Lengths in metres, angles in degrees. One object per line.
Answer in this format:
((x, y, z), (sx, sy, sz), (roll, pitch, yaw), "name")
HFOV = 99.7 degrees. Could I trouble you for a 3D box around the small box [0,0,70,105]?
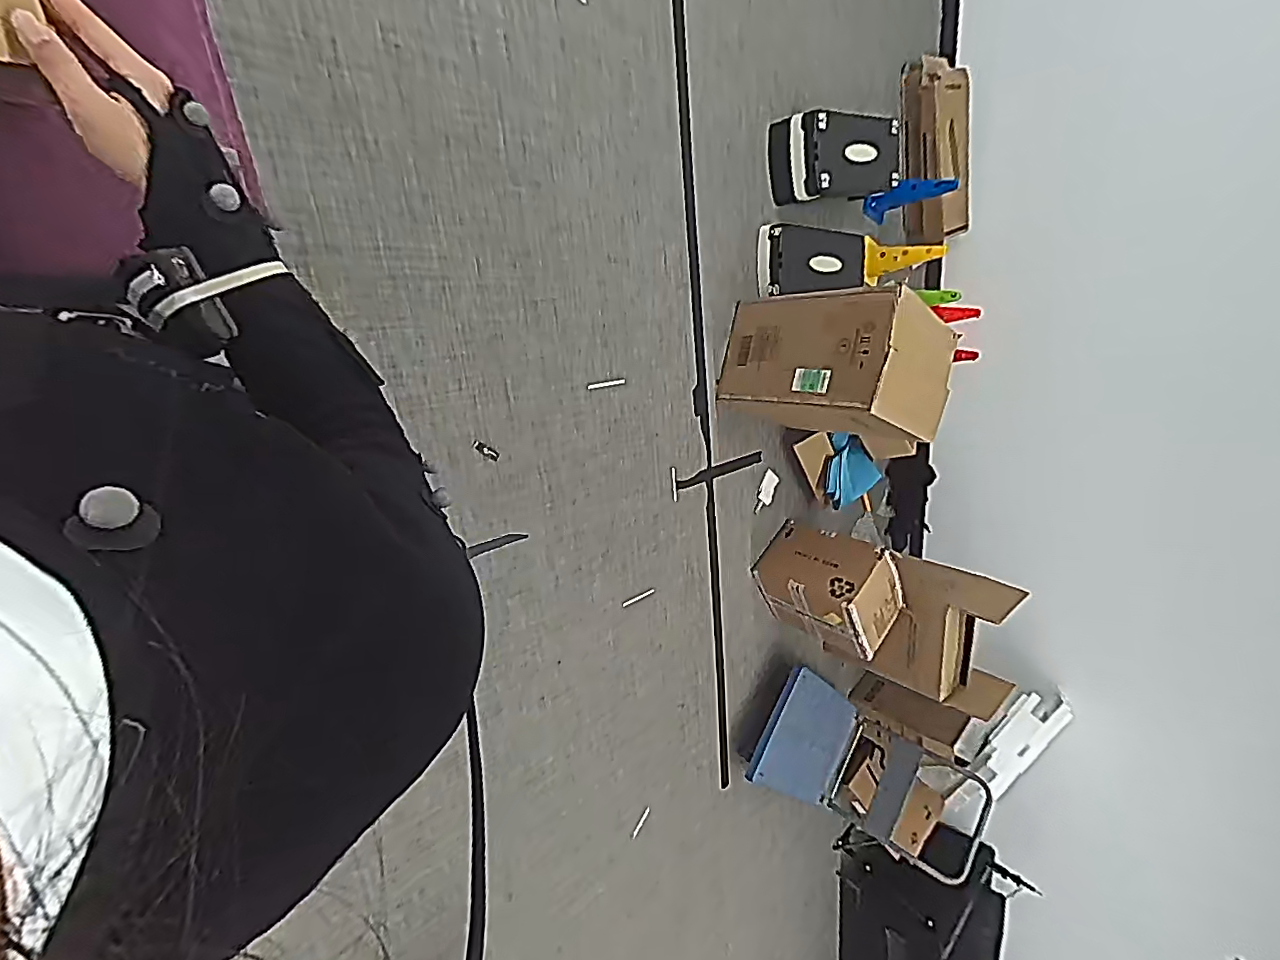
((-0.459, -0.321, 0.294), (0.179, 0.176, 0.168), (-18, 121, -38), "small box")
